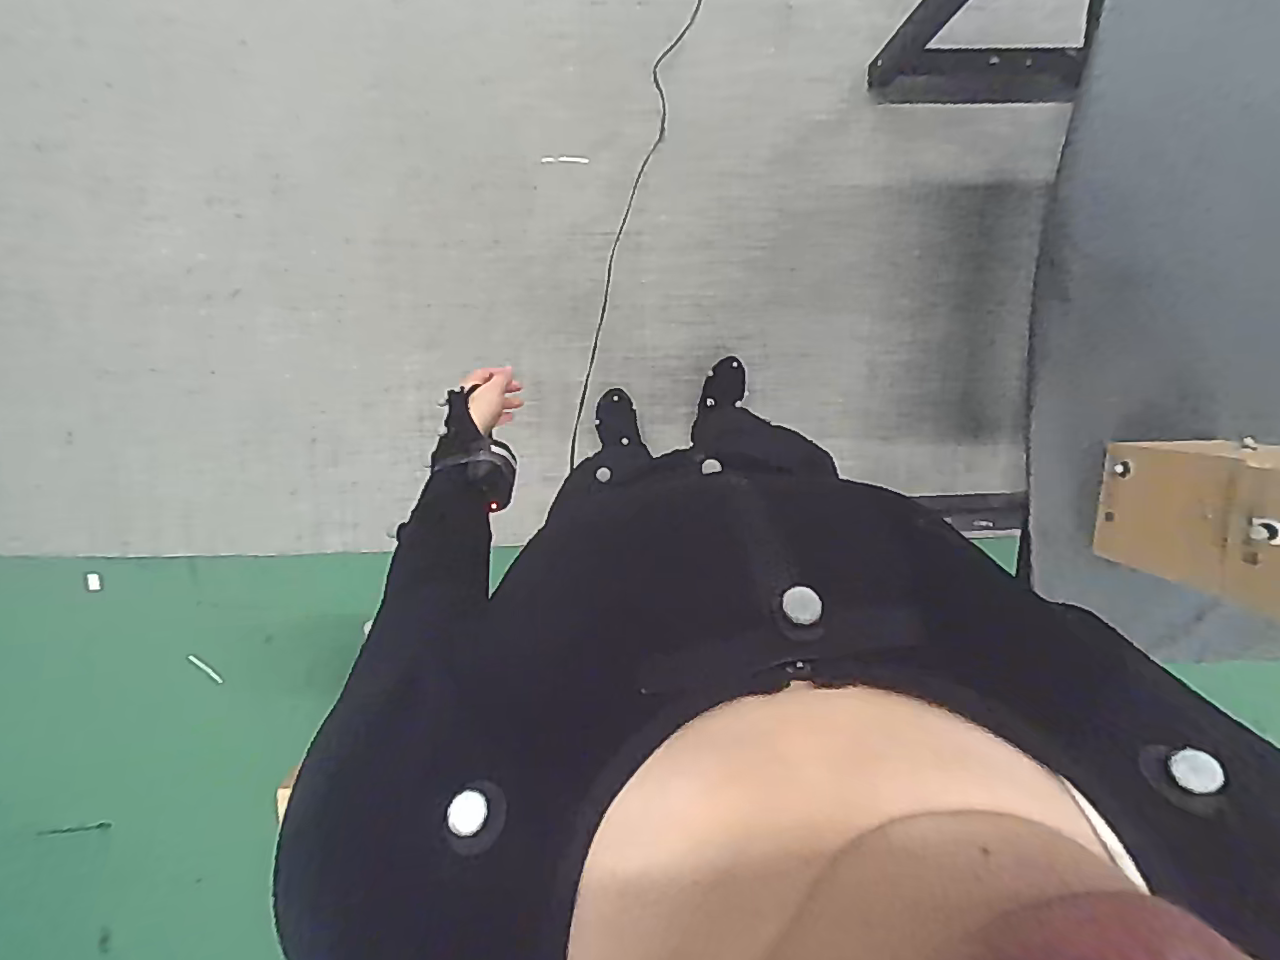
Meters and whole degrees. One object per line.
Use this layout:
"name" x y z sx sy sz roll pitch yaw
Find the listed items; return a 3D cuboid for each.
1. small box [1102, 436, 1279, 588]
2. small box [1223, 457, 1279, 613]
"small box" 0.756 0.034 0.701 0.179 0.176 0.168 -2 100 -5
"small box" 0.765 0.063 0.541 0.179 0.176 0.168 -5 100 -3
